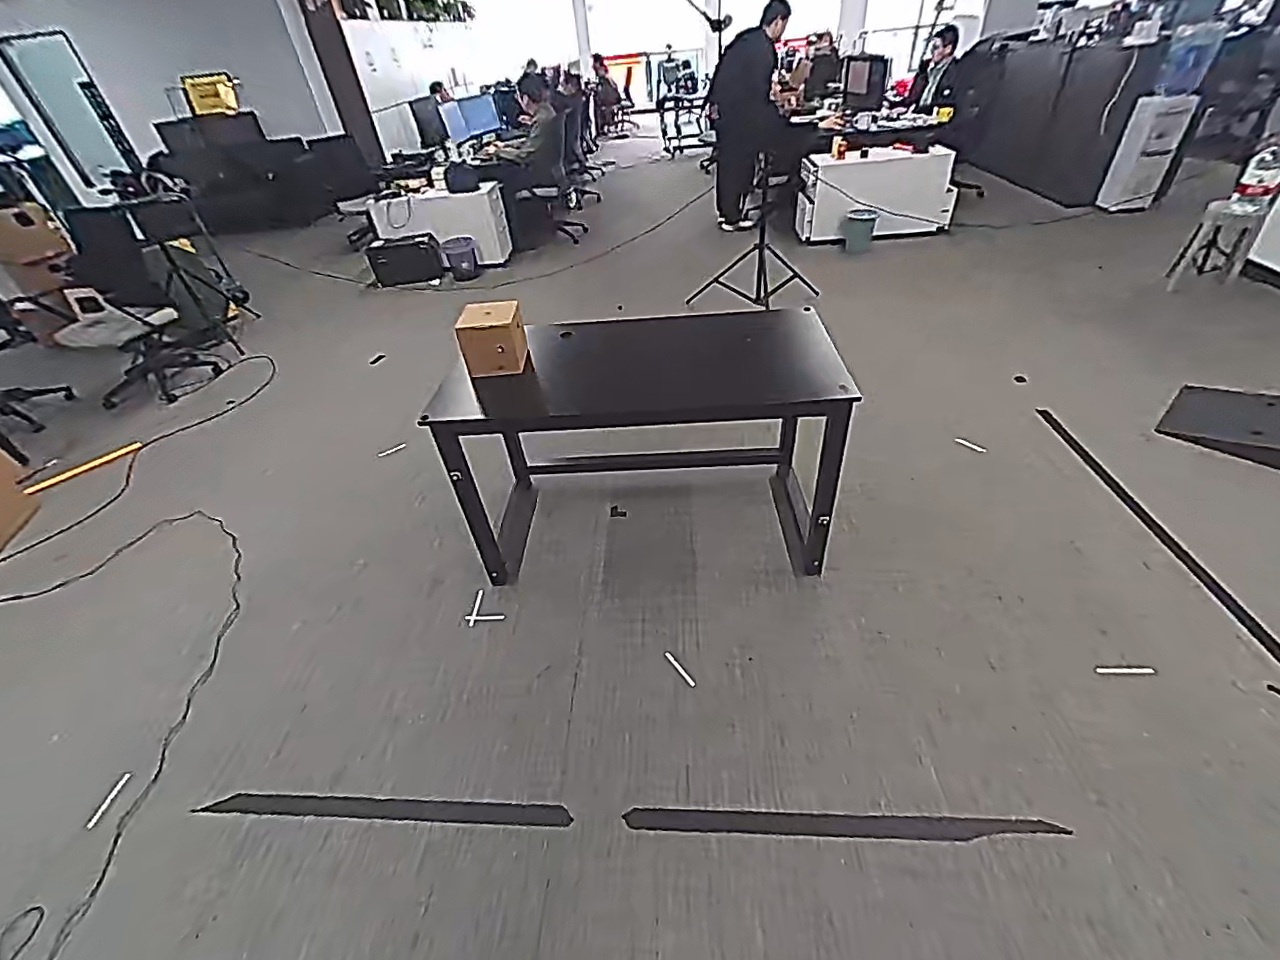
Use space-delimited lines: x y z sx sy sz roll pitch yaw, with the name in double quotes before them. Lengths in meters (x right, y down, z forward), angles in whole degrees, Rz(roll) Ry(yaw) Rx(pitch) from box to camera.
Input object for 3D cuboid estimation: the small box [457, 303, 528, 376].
"small box" -0.452 -0.435 1.684 0.168 0.176 0.179 -4 39 0
